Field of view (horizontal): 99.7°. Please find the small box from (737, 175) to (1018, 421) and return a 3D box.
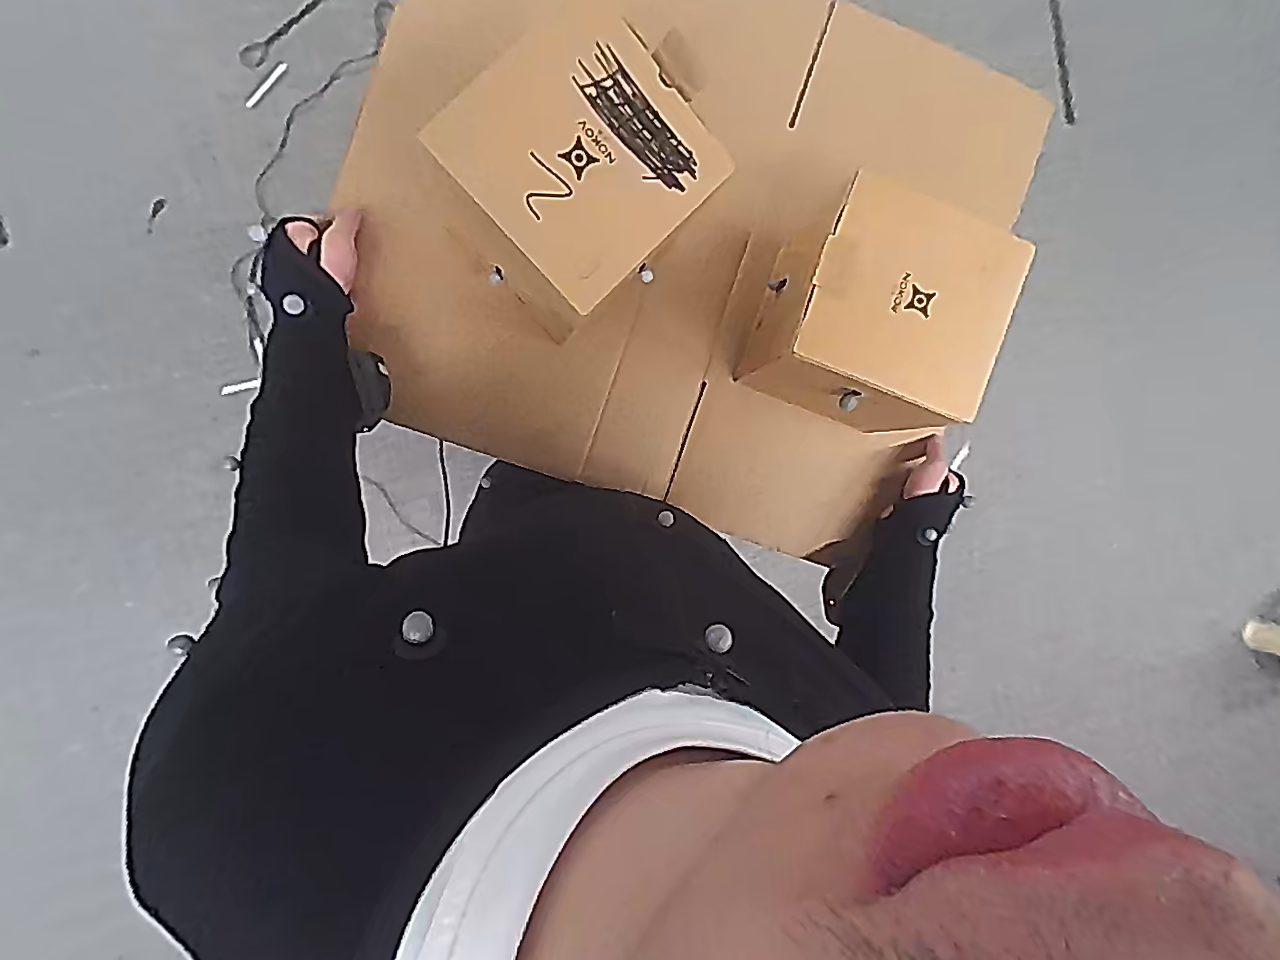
[{"bbox_3d":[0.224,-0.163,0.554,0.179,0.176,0.168,19,90,-6],"label":"small box"}]
